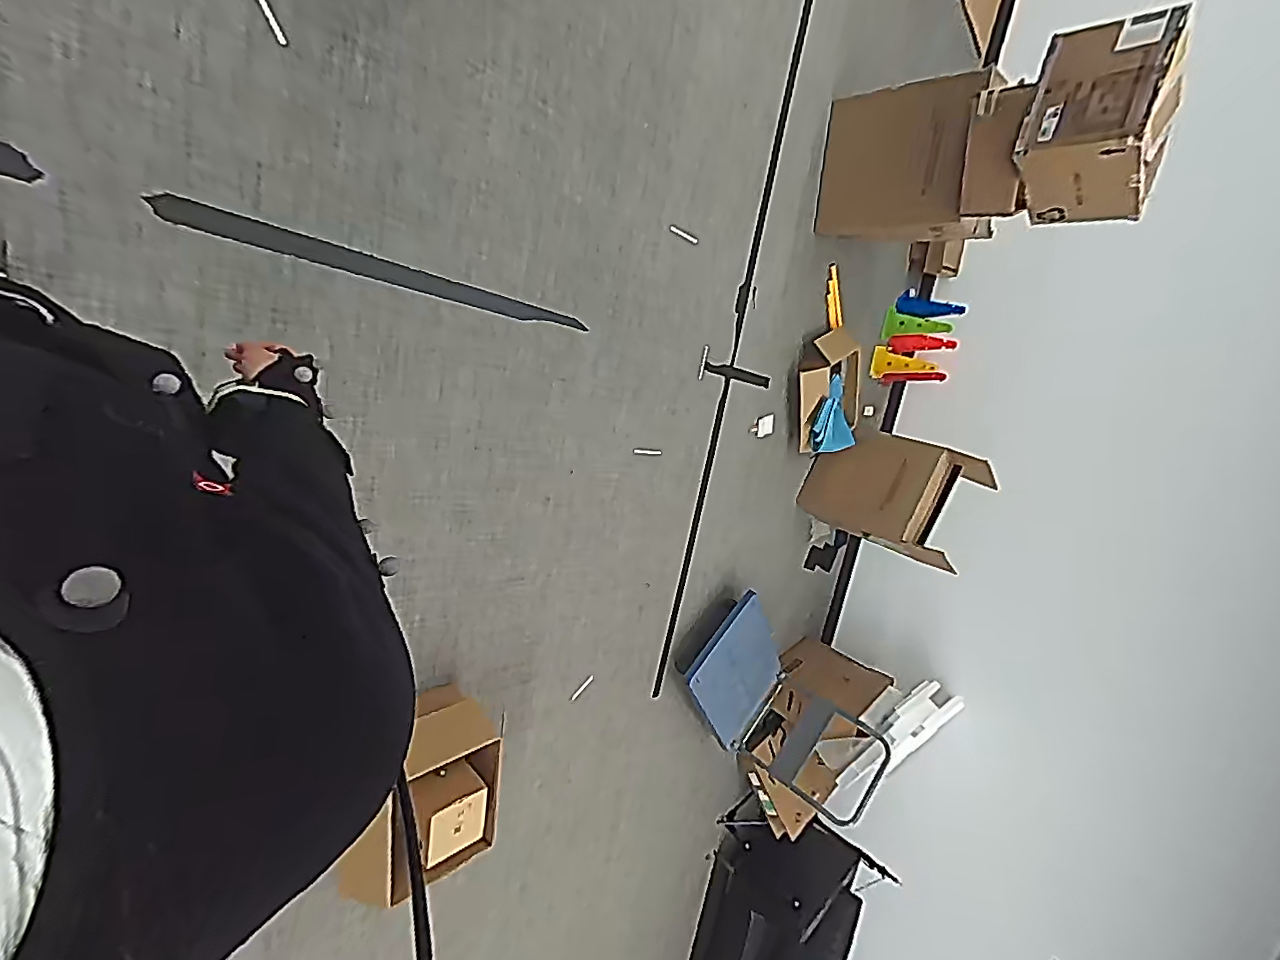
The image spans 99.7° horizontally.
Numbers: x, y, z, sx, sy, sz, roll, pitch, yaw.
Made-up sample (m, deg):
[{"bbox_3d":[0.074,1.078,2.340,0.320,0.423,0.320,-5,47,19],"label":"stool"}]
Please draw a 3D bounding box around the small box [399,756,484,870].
[{"bbox_3d":[-0.562,0.924,1.518,0.168,0.176,0.179,-4,108,-47],"label":"small box"}]
